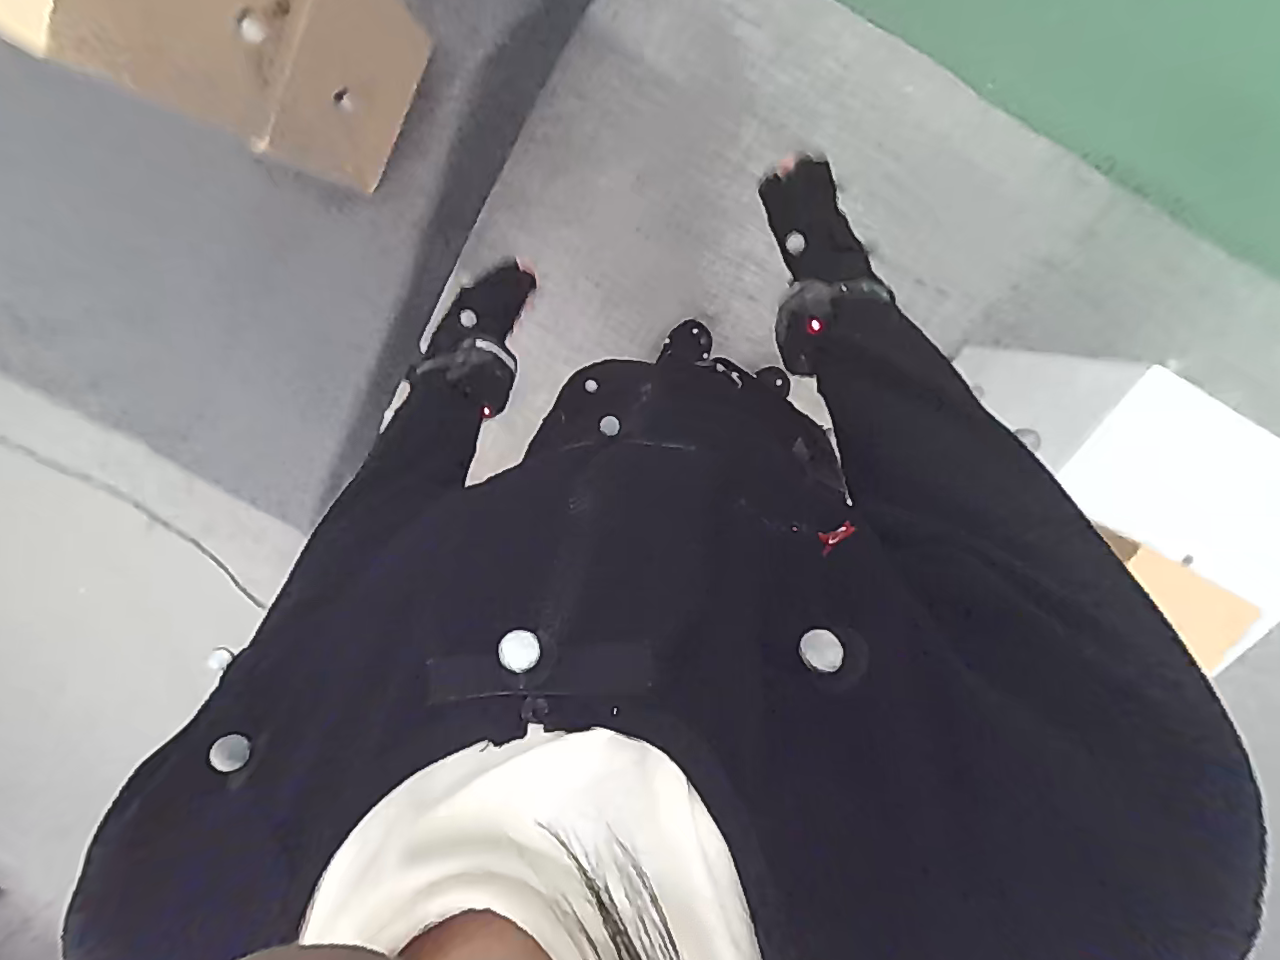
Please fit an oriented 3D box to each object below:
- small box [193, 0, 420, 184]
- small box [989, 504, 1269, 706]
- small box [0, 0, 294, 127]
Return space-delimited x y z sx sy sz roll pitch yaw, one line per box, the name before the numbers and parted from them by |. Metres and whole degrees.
small box | -0.345 -0.421 0.519 0.168 0.176 0.179 32 109 -3
small box | 0.621 0.153 0.717 0.179 0.176 0.168 25 108 0
small box | -0.376 -0.379 0.363 0.179 0.176 0.168 29 107 1
